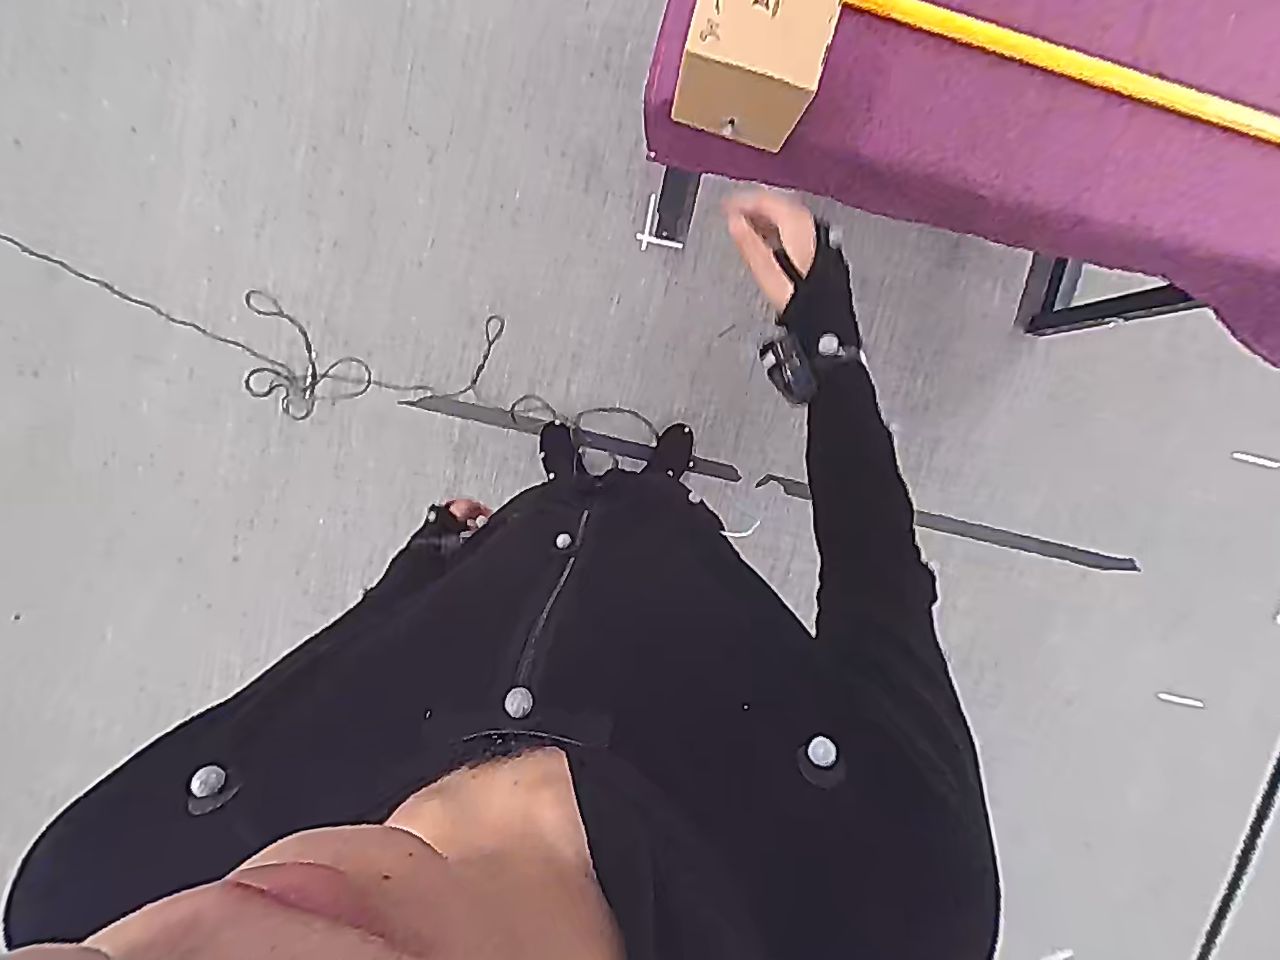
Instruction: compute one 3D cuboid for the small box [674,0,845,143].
[{"bbox_3d":[0.157,-0.596,0.737,0.179,0.176,0.168,15,97,-5],"label":"small box"}]
